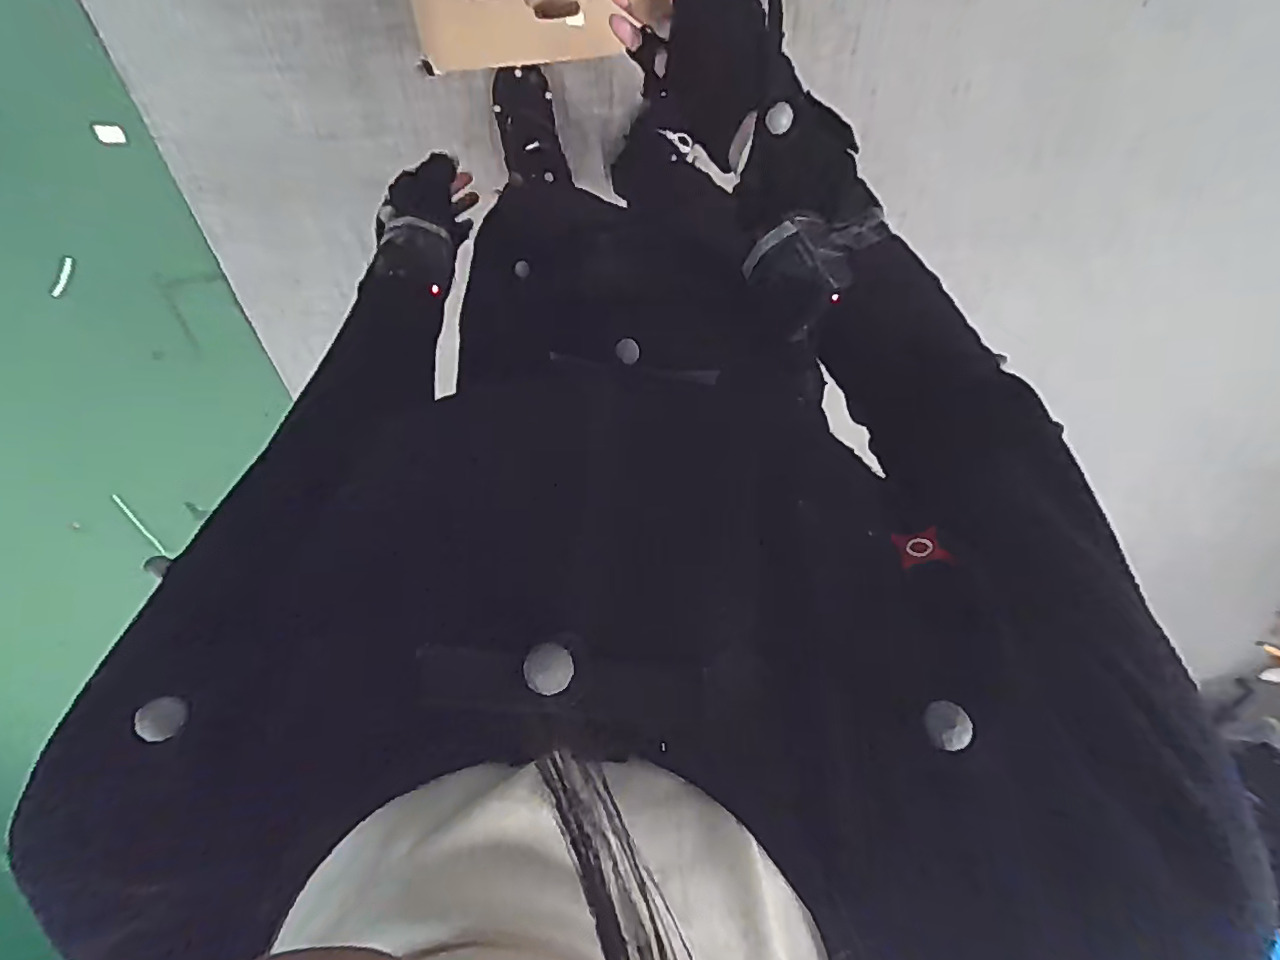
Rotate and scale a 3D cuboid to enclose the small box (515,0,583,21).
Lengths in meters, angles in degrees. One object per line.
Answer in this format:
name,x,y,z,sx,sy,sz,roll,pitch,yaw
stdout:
small box,-0.035,-0.430,0.341,0.168,0.176,0.179,-19,130,6
